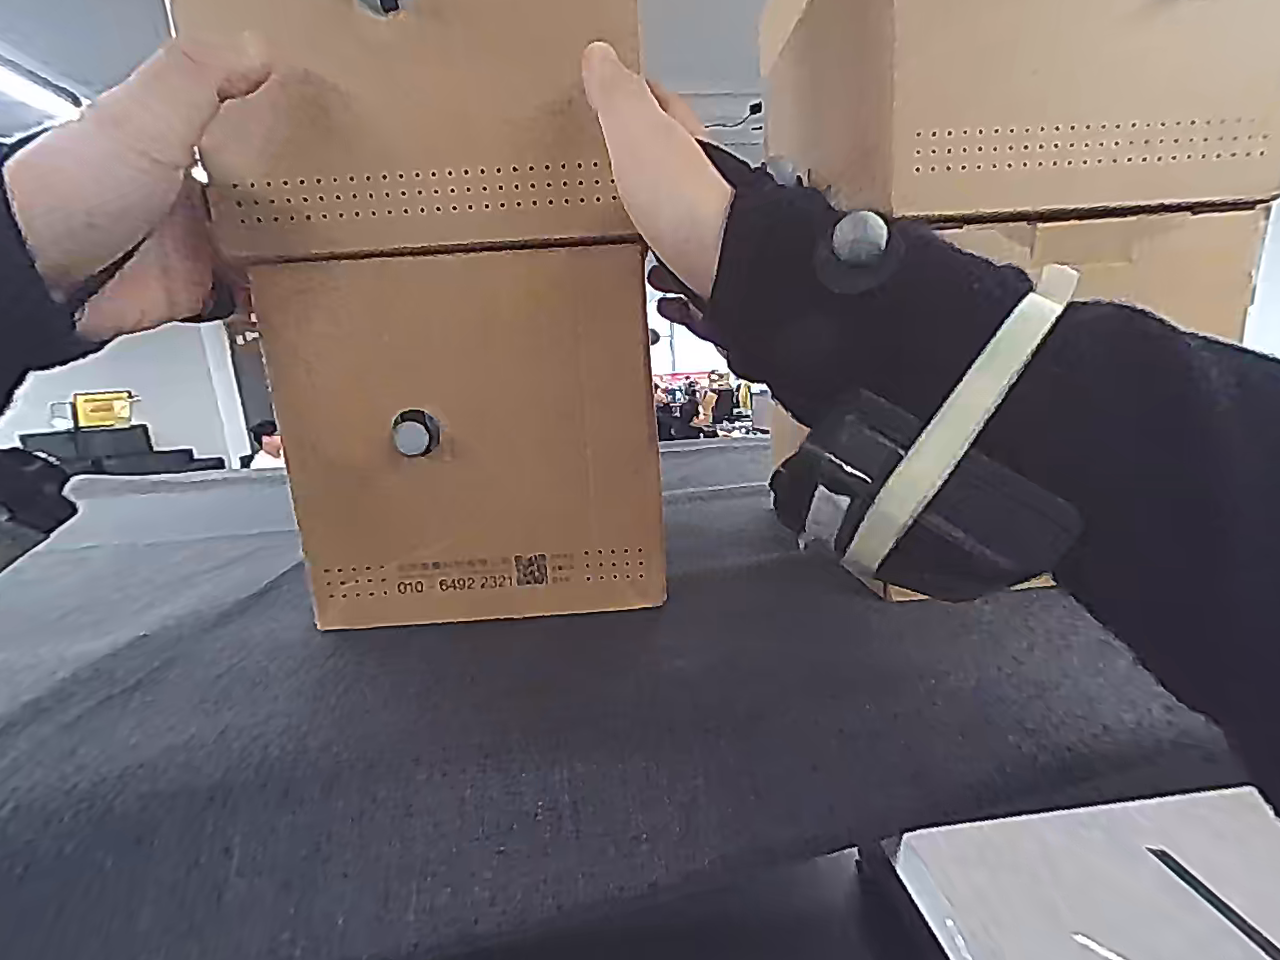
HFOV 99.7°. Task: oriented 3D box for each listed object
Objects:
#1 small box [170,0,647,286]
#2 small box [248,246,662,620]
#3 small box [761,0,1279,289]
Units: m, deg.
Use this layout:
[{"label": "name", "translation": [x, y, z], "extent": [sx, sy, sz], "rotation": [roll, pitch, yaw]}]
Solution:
[{"label": "small box", "translation": [-0.088, -0.185, 0.278], "extent": [0.179, 0.176, 0.168], "rotation": [-6, 10, -1]}, {"label": "small box", "translation": [-0.078, -0.026, 0.321], "extent": [0.168, 0.176, 0.179], "rotation": [-4, 11, -2]}, {"label": "small box", "translation": [0.172, -0.202, 0.285], "extent": [0.179, 0.176, 0.168], "rotation": [-6, 10, -3]}]
